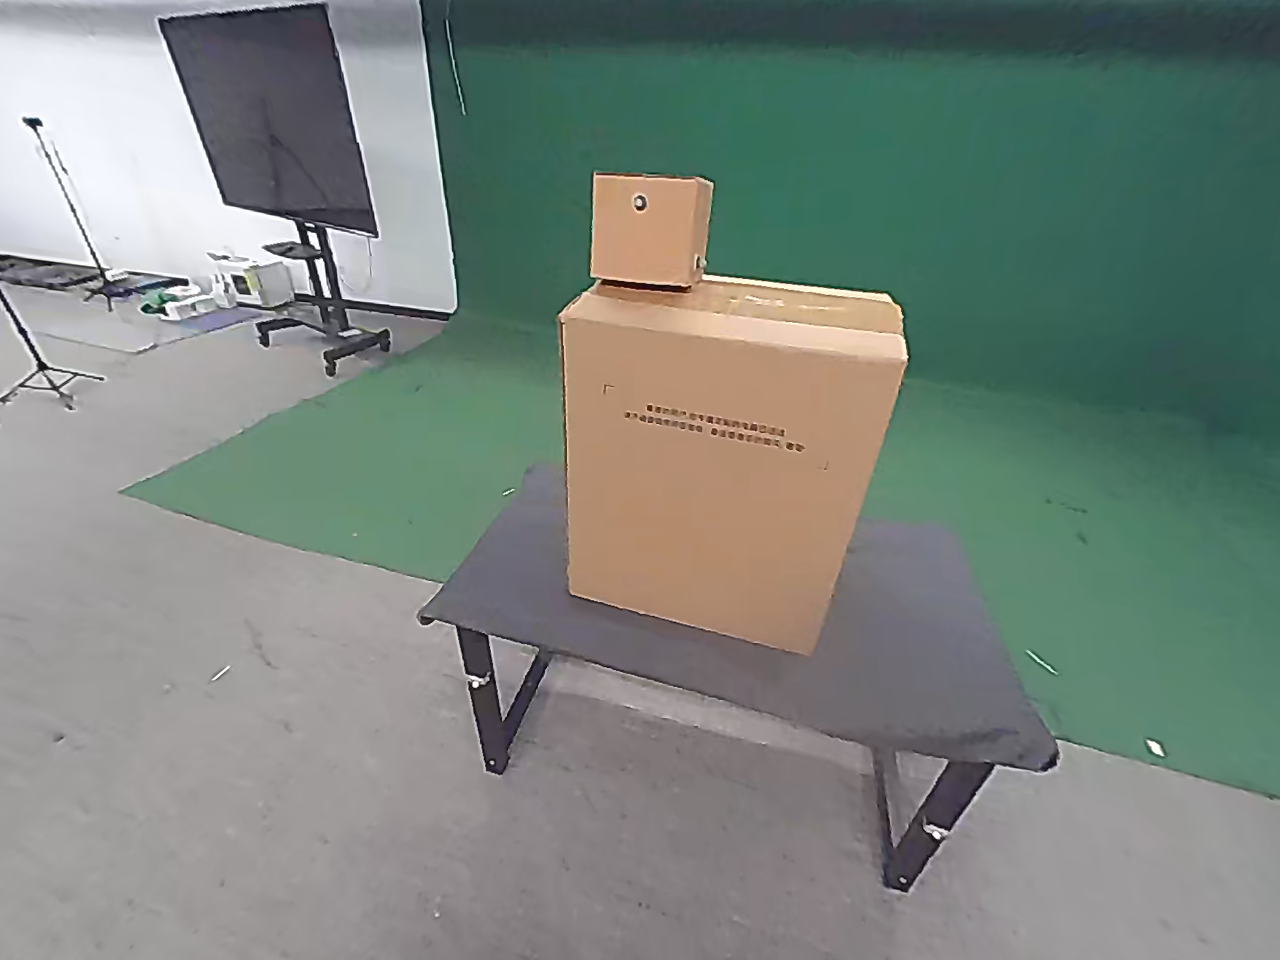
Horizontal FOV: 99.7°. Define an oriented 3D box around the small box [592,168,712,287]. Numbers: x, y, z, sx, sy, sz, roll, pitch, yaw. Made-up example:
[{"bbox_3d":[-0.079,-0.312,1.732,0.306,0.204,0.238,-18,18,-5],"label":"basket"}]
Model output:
[{"bbox_3d":[0.021,-0.444,0.963,0.179,0.176,0.168,12,27,10],"label":"small box"}]
